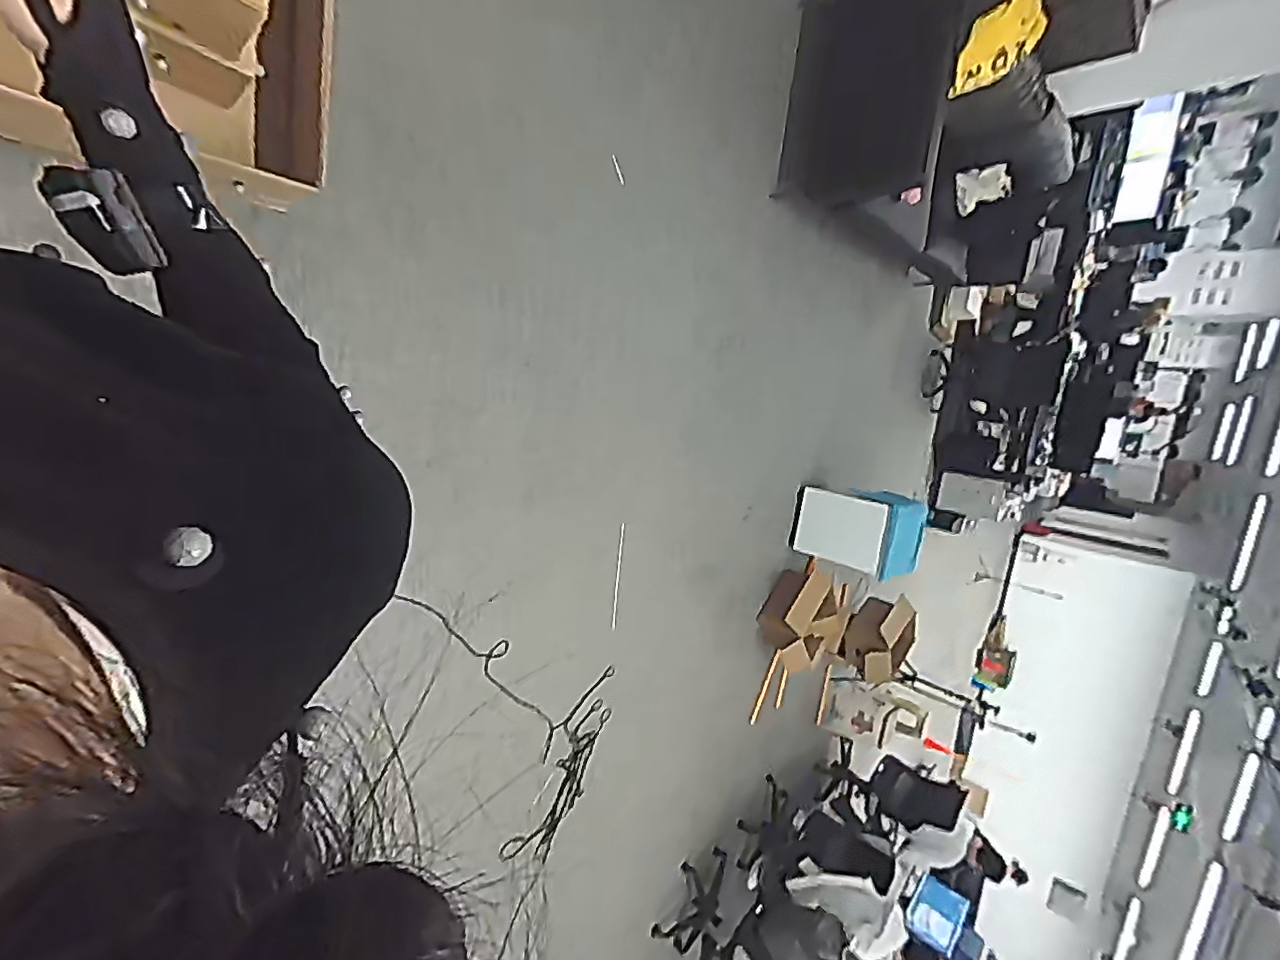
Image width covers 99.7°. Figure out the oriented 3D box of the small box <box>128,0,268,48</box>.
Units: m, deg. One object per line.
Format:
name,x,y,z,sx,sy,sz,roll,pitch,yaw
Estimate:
small box,-0.501,-0.617,0.569,0.168,0.176,0.179,2,100,-47
